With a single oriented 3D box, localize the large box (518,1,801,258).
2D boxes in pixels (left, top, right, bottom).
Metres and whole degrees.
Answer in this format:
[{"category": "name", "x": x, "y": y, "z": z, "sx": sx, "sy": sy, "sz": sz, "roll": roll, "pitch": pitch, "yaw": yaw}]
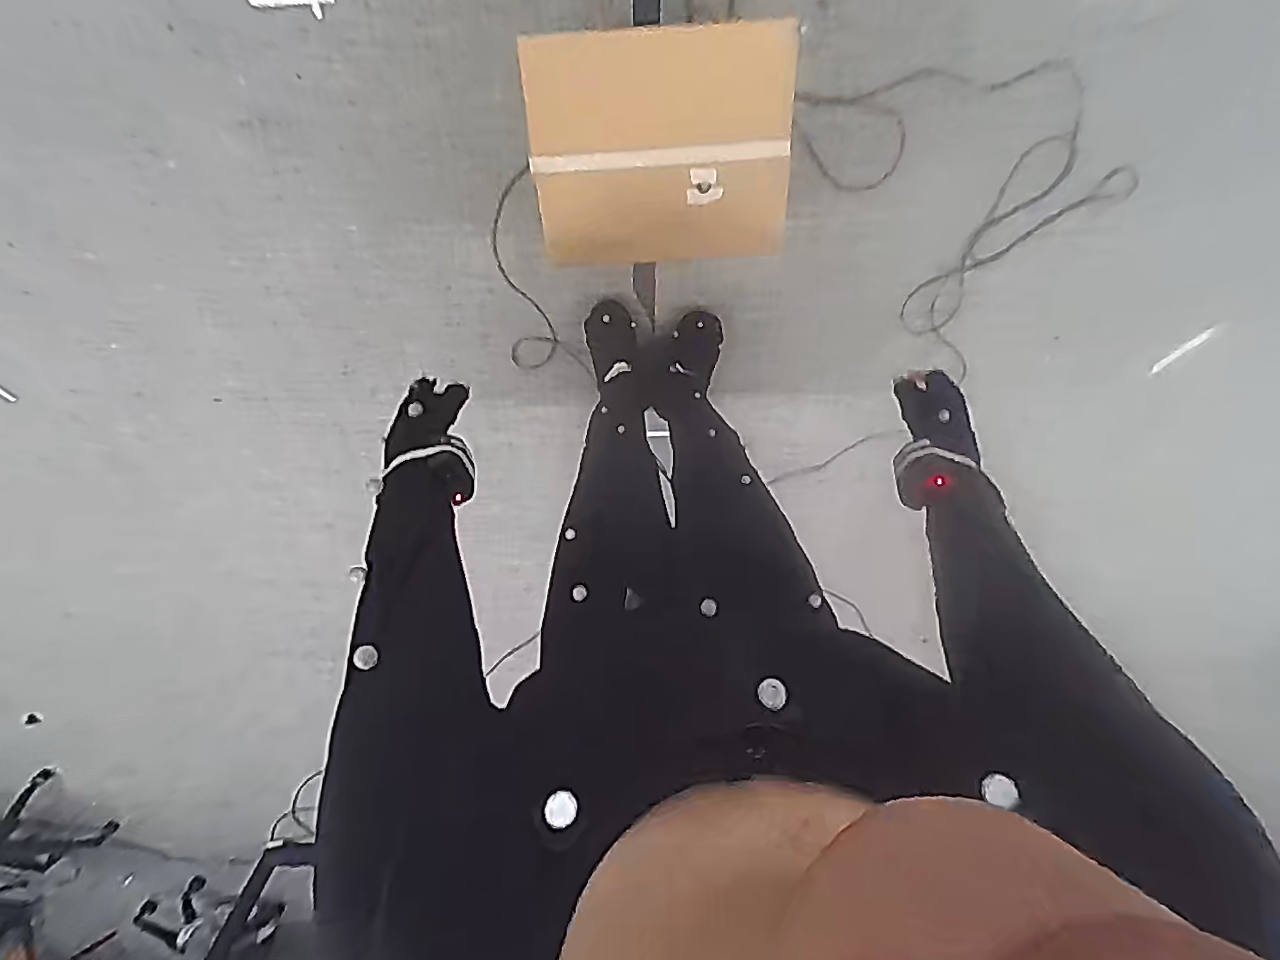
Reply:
[{"category": "large box", "x": 0.031, "y": -0.596, "z": 0.955, "sx": 0.408, "sy": 0.320, "sz": 0.320, "roll": -4, "pitch": 123, "yaw": 0}]
